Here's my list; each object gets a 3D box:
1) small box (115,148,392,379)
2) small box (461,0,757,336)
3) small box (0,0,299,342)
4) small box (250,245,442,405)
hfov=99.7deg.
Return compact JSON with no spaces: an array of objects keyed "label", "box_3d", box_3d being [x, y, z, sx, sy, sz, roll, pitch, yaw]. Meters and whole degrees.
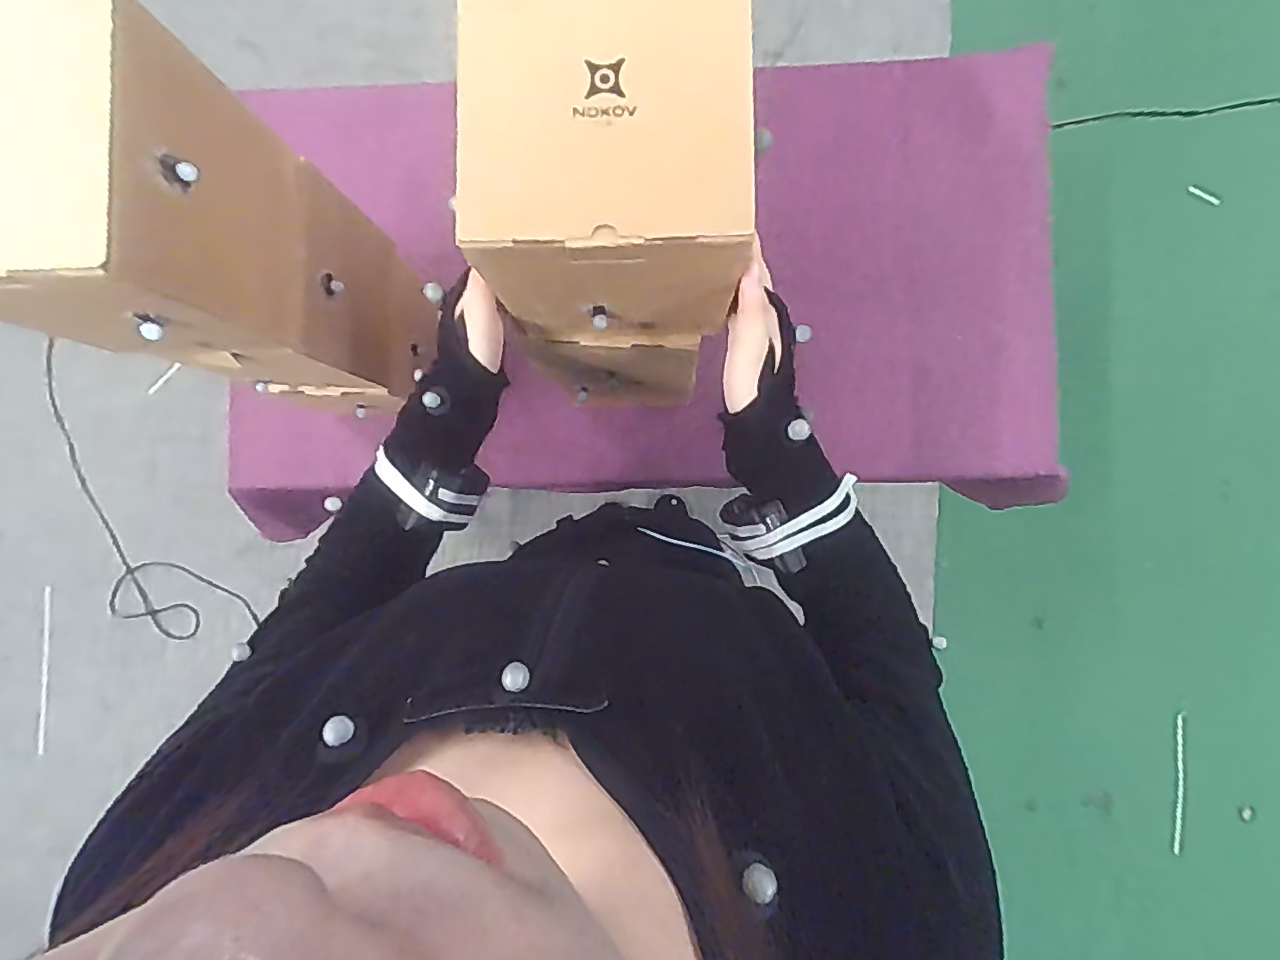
[{"label":"small box","box_3d":[-0.375,-0.206,0.552,0.168,0.176,0.179,3,88,1]},{"label":"small box","box_3d":[-0.016,-0.213,0.381,0.168,0.176,0.179,0,89,1]},{"label":"small box","box_3d":[-0.377,-0.205,0.389,0.168,0.176,0.179,1,89,0]},{"label":"small box","box_3d":[-0.374,-0.197,0.716,0.168,0.176,0.179,2,90,0]}]
